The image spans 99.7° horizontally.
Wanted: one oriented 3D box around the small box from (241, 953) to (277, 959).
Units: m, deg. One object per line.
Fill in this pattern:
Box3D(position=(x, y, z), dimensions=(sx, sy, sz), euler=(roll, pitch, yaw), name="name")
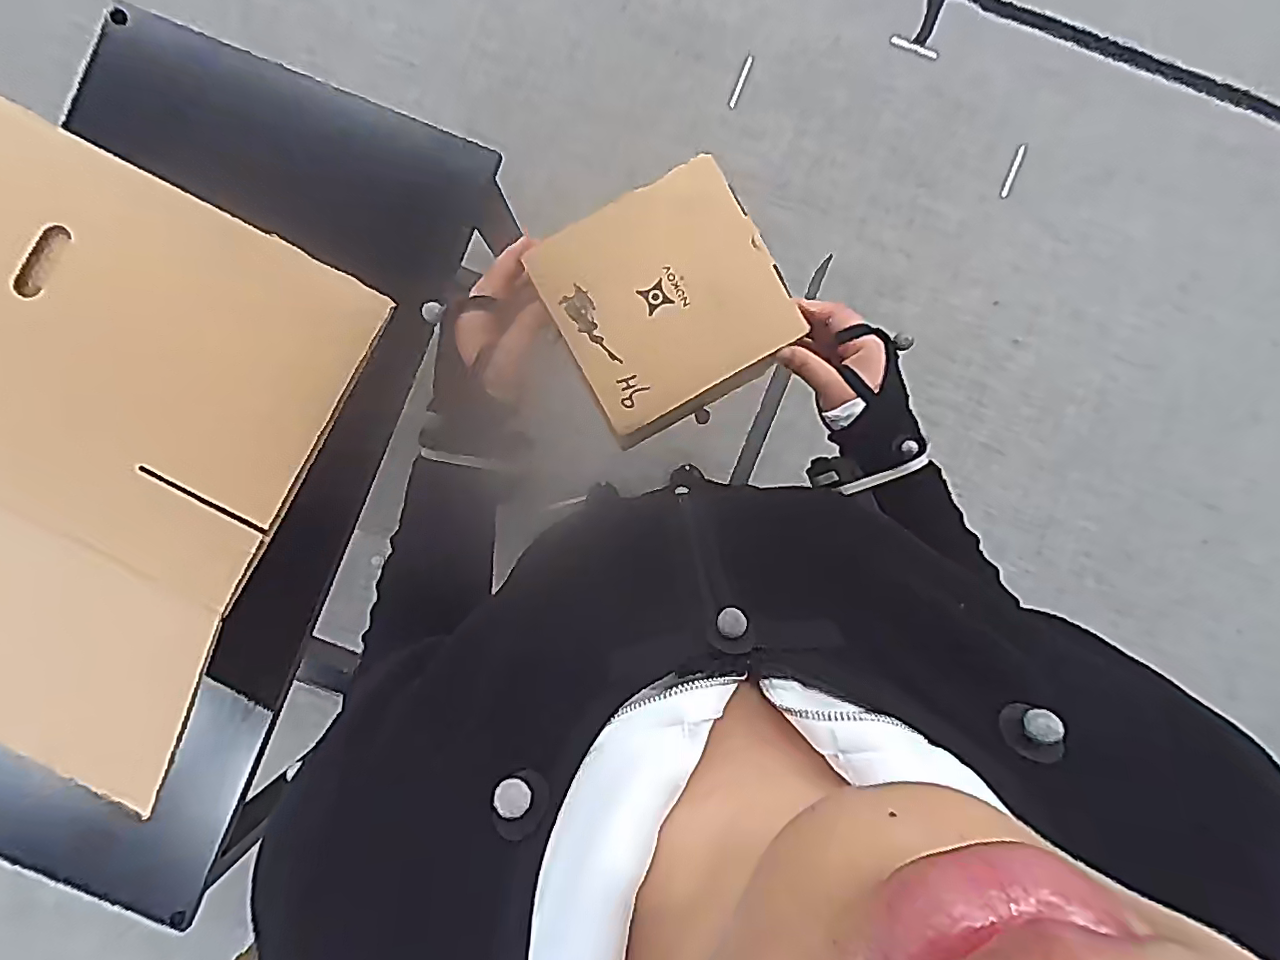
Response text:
Box3D(position=(-0.914, 1.260, 1.256), dimensions=(0.179, 0.176, 0.168), euler=(15, 89, 1), name="small box")
